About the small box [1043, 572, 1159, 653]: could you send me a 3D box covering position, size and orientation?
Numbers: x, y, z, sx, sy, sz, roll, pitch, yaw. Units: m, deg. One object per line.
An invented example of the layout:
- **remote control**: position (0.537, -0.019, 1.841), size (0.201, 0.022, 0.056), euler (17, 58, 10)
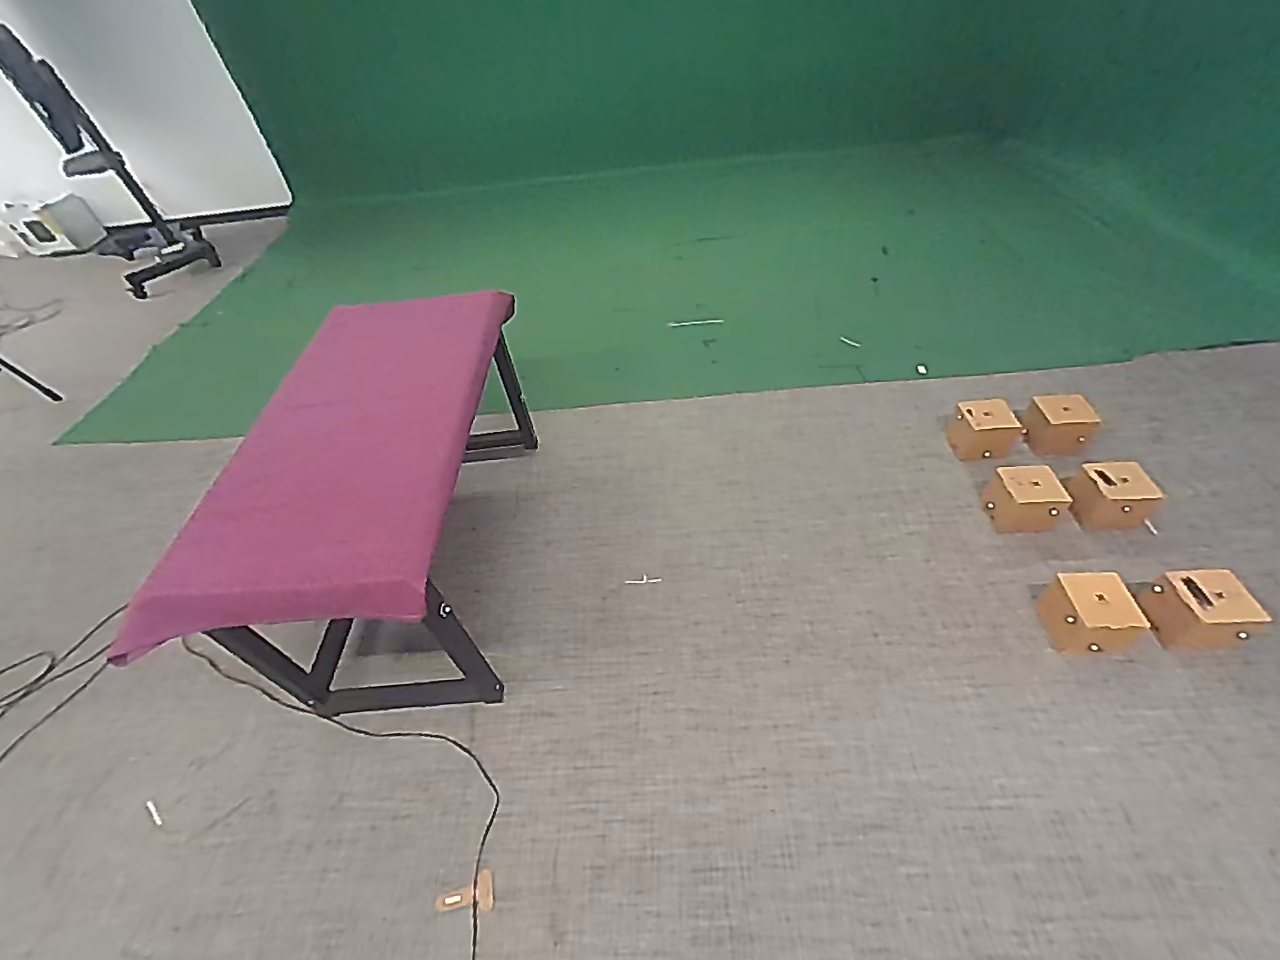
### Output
- **small box**: position (1.322, 0.385, 1.570), size (0.168, 0.176, 0.179), euler (-3, 48, 6)

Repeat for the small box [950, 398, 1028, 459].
- **small box**: position (1.352, -0.198, 2.106), size (0.179, 0.176, 0.168), euler (-3, 46, 4)

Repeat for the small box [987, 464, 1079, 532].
- **small box**: position (1.343, 0.064, 1.863), size (0.179, 0.176, 0.168), euler (-3, 47, 6)

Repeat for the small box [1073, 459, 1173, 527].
- **small box**: position (1.619, 0.049, 1.834), size (0.179, 0.176, 0.168), euler (-3, 47, 6)
